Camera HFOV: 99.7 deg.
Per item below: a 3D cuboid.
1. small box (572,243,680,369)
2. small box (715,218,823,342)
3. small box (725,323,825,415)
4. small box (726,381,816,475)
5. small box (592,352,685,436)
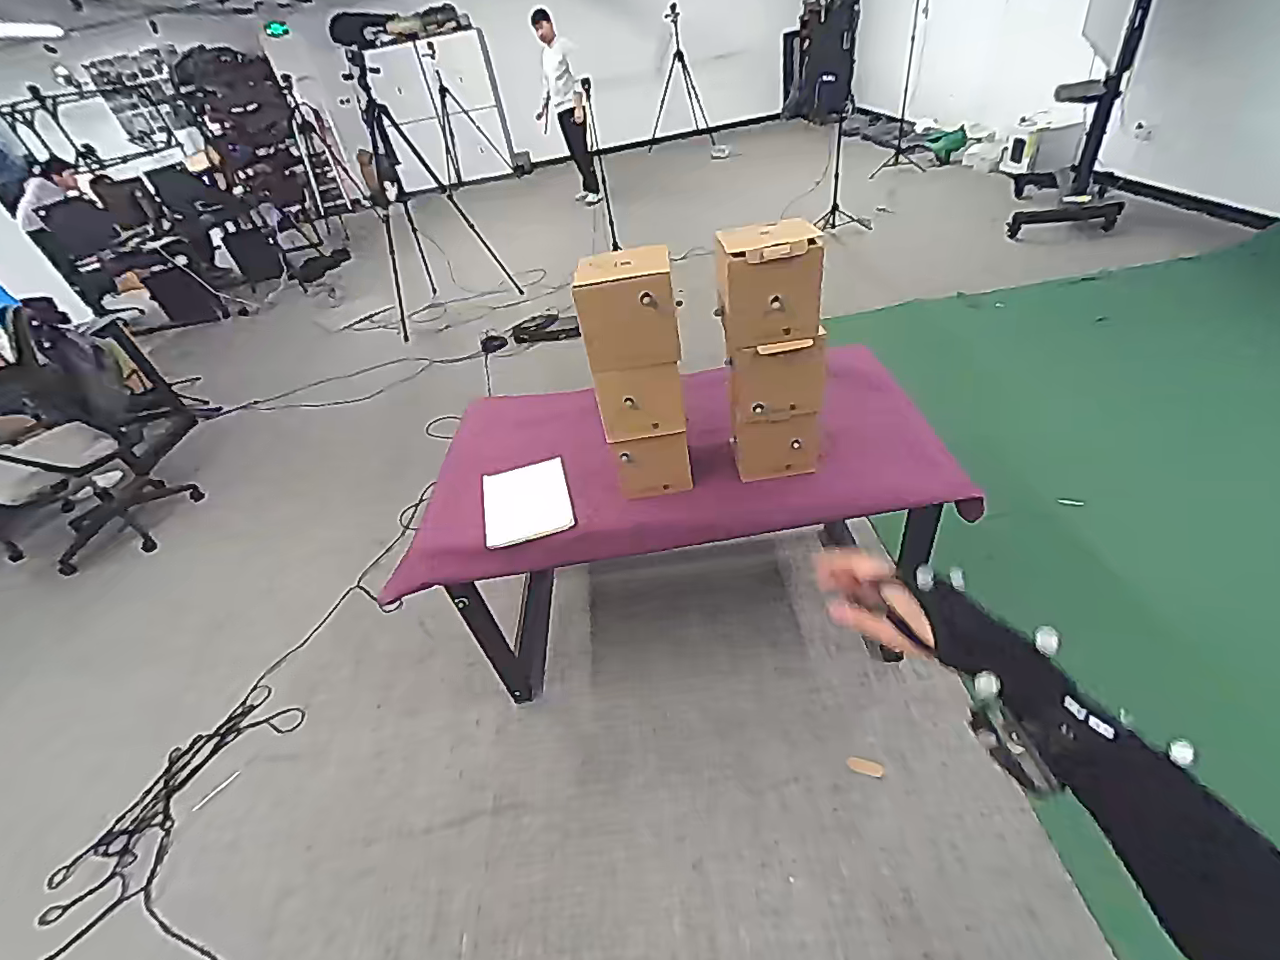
[{"bbox_3d":[-0.017,-0.329,1.028,0.179,0.176,0.168,-7,38,7],"label":"small box"},{"bbox_3d":[0.237,-0.370,1.018,0.168,0.176,0.179,-7,40,4],"label":"small box"},{"bbox_3d":[0.273,-0.246,1.120,0.168,0.176,0.179,-8,38,3],"label":"small box"},{"bbox_3d":[0.293,-0.123,1.226,0.168,0.176,0.179,-7,38,4],"label":"small box"},{"bbox_3d":[0.000,-0.205,1.136,0.168,0.176,0.179,-8,38,5],"label":"small box"}]
